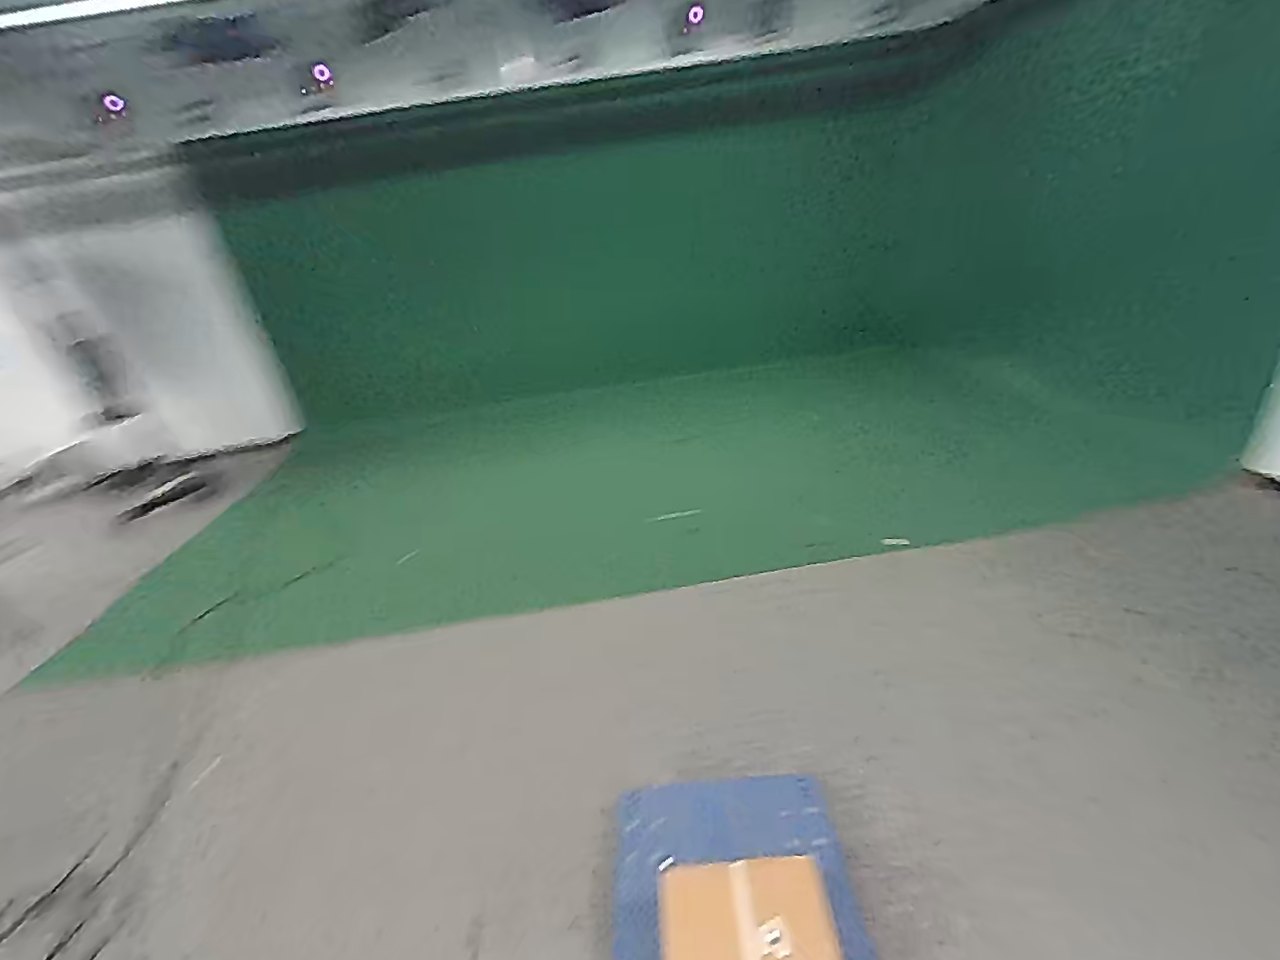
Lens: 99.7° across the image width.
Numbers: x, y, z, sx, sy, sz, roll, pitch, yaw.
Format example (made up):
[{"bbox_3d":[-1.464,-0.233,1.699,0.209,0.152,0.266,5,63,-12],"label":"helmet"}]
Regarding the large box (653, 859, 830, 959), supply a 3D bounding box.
[{"bbox_3d":[0.208,1.016,0.998,0.320,0.320,0.408,-7,27,2],"label":"large box"}]
